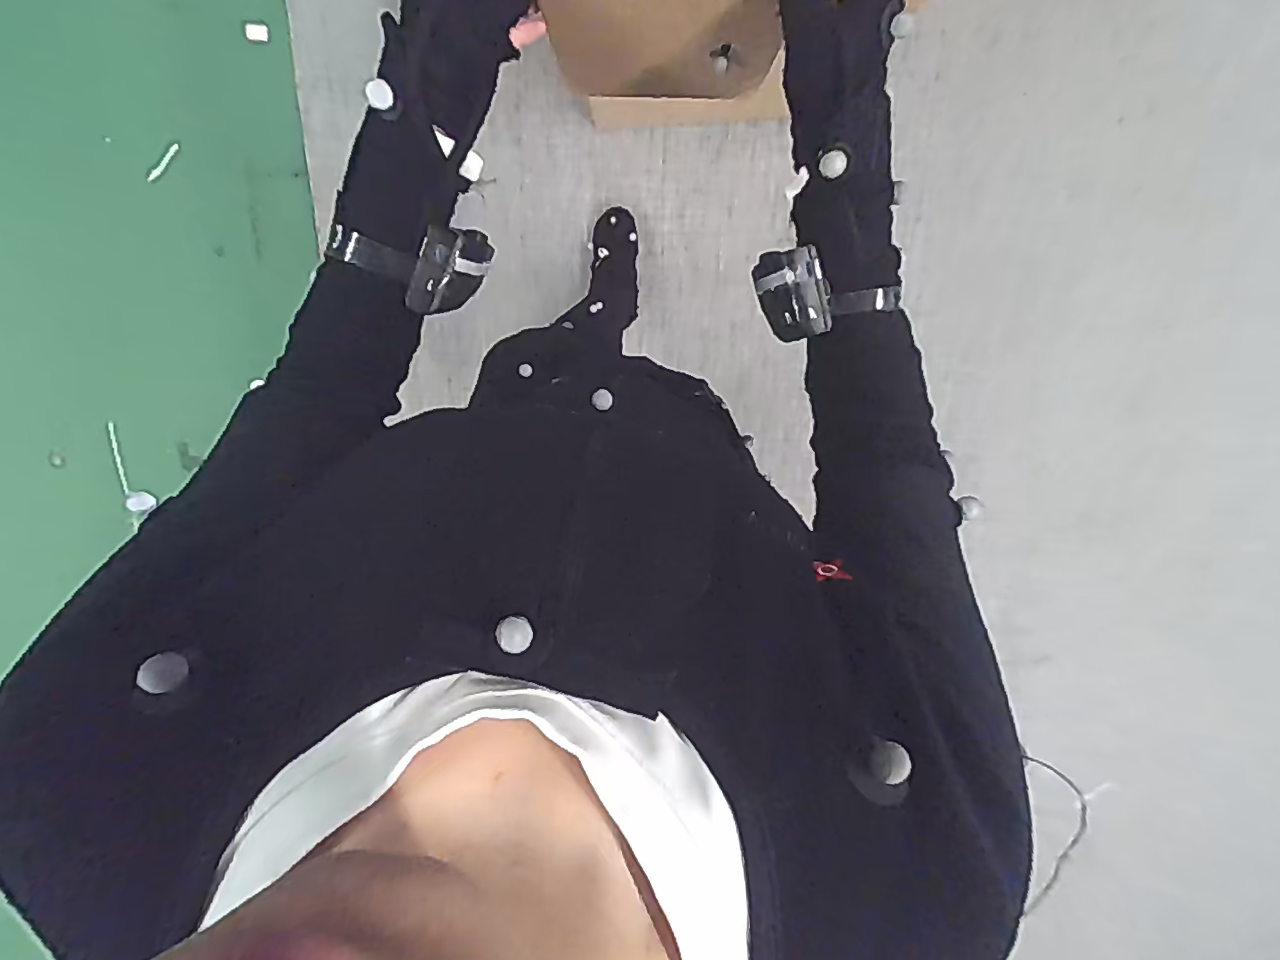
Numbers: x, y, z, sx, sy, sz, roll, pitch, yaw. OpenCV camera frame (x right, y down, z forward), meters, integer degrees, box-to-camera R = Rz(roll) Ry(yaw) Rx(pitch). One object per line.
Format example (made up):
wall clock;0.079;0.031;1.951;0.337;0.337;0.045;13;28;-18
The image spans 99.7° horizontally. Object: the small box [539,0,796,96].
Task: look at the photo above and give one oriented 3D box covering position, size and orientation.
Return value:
small box;0.020;-0.413;0.400;0.179;0.176;0.168;0;104;2
